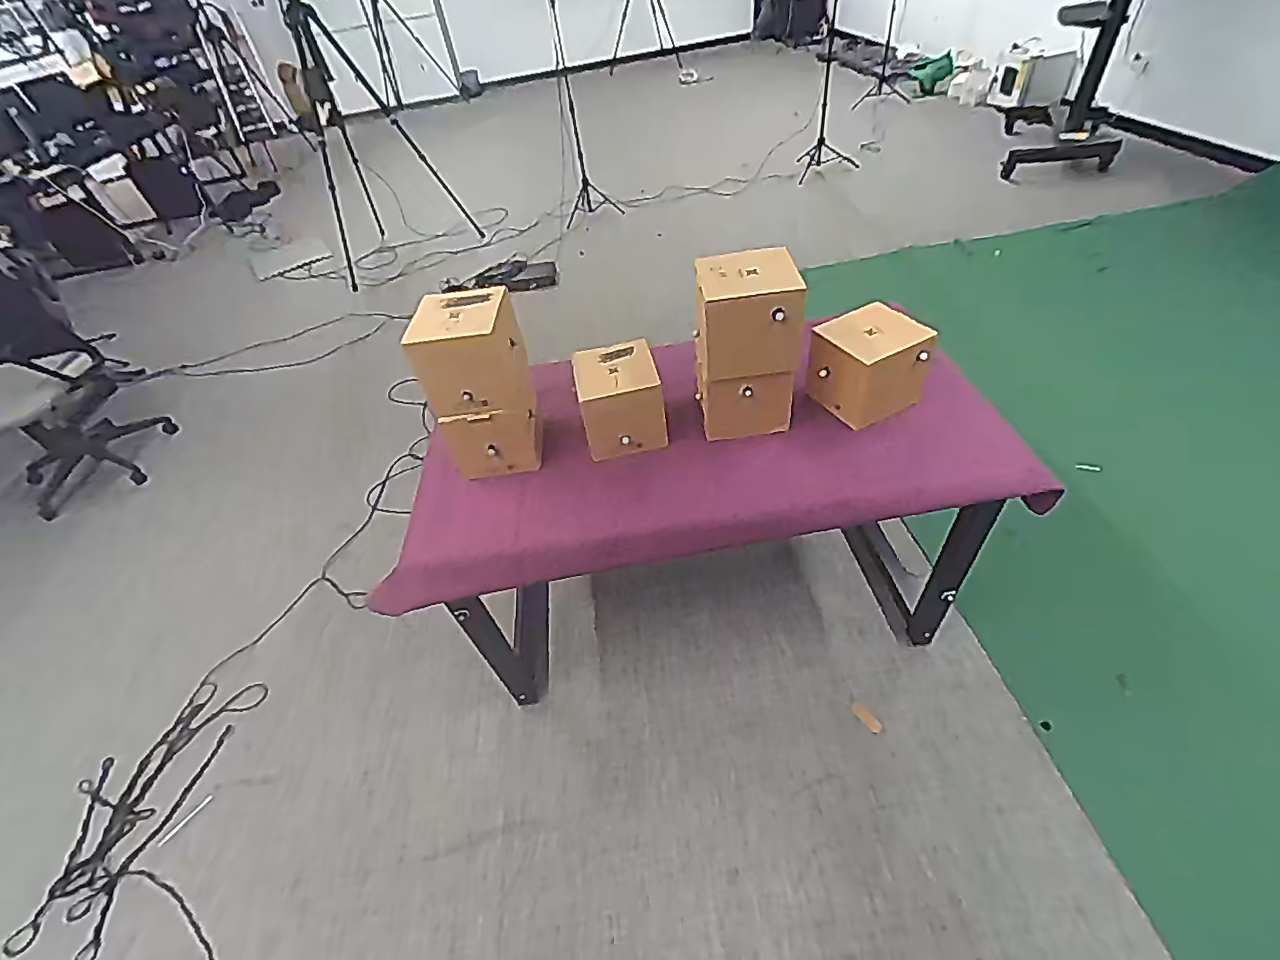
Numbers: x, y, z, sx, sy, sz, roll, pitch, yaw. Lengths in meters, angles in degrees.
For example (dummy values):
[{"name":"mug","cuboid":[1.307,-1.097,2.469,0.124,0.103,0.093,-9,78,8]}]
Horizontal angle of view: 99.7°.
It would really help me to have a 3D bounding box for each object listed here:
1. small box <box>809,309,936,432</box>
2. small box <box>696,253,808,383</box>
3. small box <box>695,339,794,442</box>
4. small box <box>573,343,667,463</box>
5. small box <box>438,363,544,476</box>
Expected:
[{"name":"small box","cuboid":[0.473,-0.226,1.130,0.179,0.176,0.168,-24,46,-13]},{"name":"small box","cuboid":[0.202,-0.303,1.019,0.179,0.176,0.168,-6,45,4]},{"name":"small box","cuboid":[0.216,-0.195,1.142,0.179,0.176,0.168,-6,46,3]},{"name":"small box","cuboid":[-0.042,-0.163,1.152,0.168,0.176,0.179,-12,46,-2]},{"name":"small box","cuboid":[-0.308,-0.122,1.157,0.168,0.176,0.179,-7,46,1]}]
